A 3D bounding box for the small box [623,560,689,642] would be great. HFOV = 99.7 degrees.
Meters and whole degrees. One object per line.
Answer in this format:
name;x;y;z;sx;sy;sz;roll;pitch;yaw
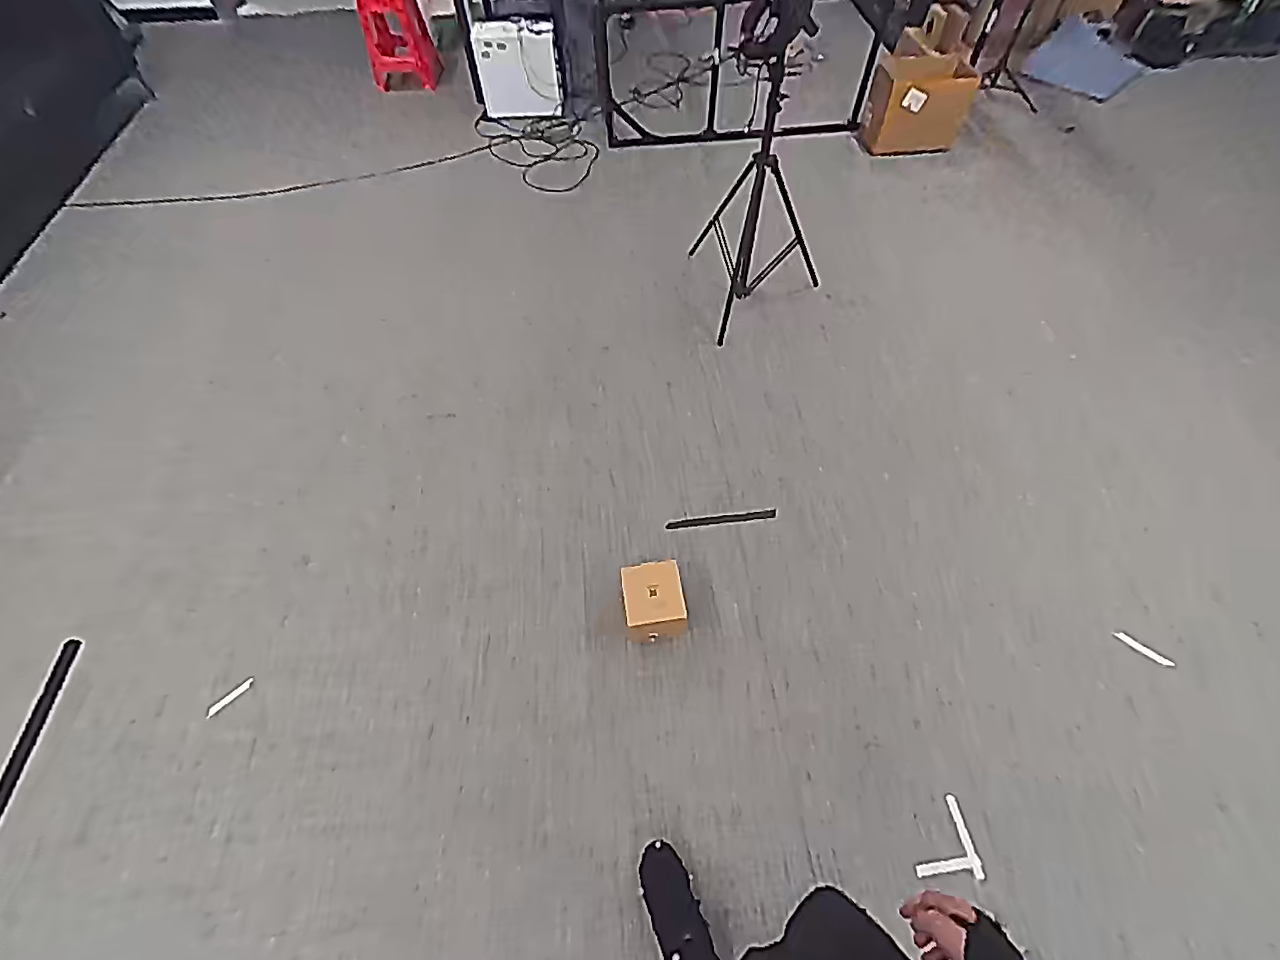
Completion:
small box;0.043;0.353;1.570;0.168;0.176;0.179;-8;58;-3
